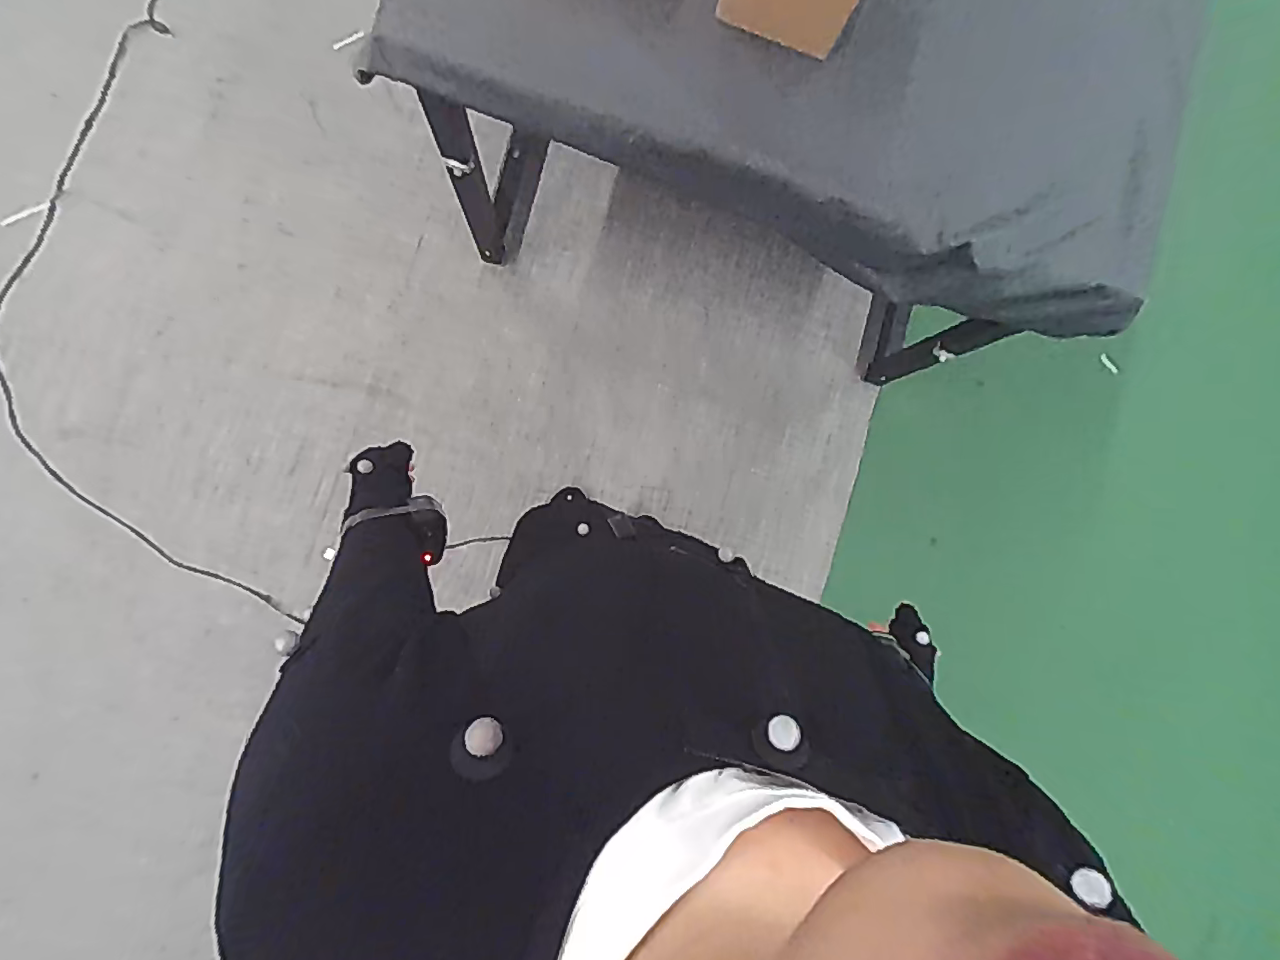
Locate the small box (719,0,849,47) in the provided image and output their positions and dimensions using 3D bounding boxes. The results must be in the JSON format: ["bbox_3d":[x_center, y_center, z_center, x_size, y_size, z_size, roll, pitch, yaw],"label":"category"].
[{"bbox_3d":[0.221,-0.737,0.721,0.179,0.176,0.168,16,87,-7],"label":"small box"}]
